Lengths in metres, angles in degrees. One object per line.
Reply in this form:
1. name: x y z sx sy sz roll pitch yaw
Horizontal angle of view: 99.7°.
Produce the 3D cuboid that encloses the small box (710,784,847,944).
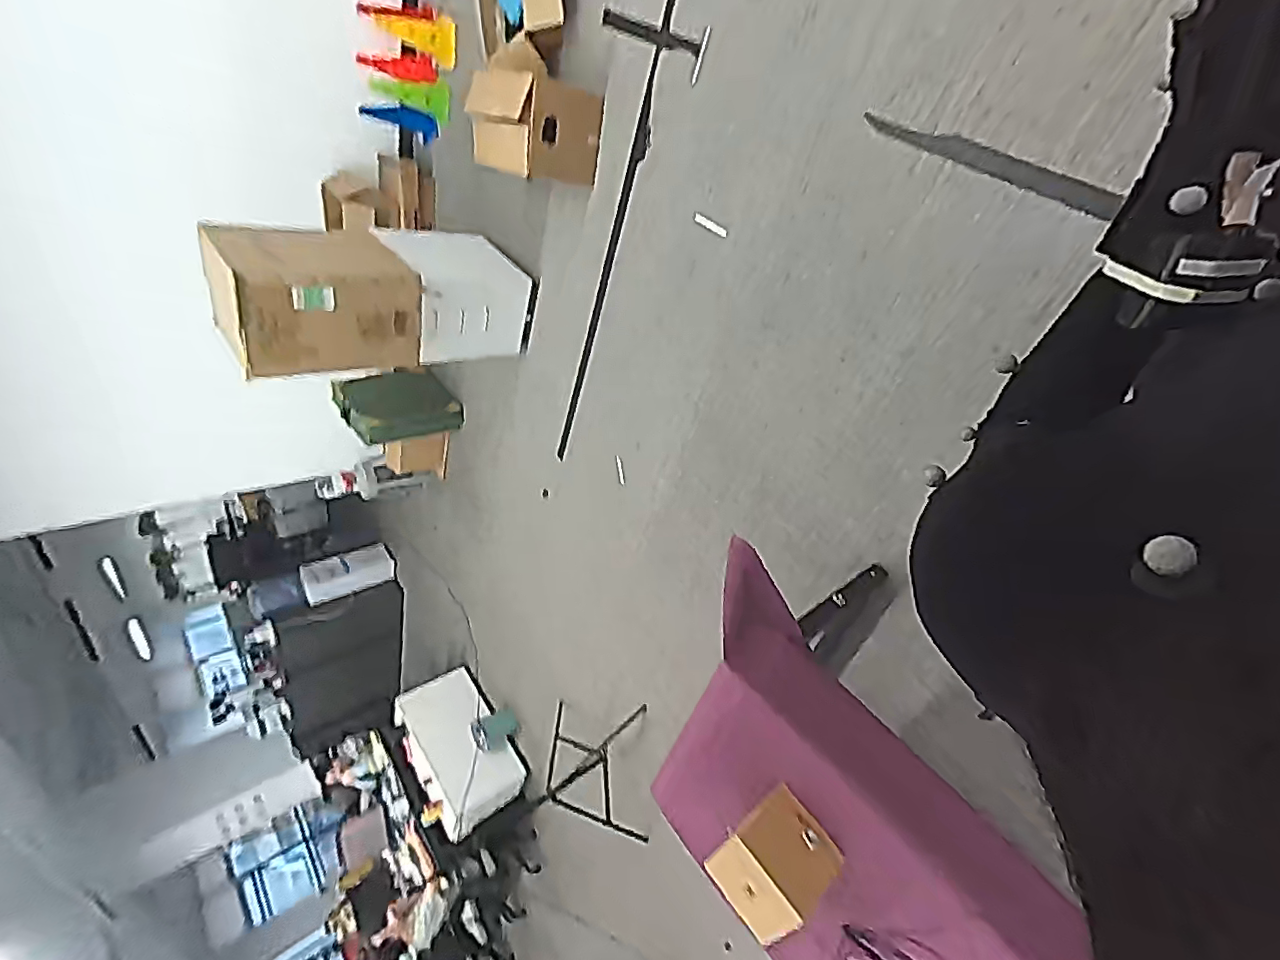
1. small box: 0.274 0.749 1.068 0.168 0.176 0.179 43 131 29
